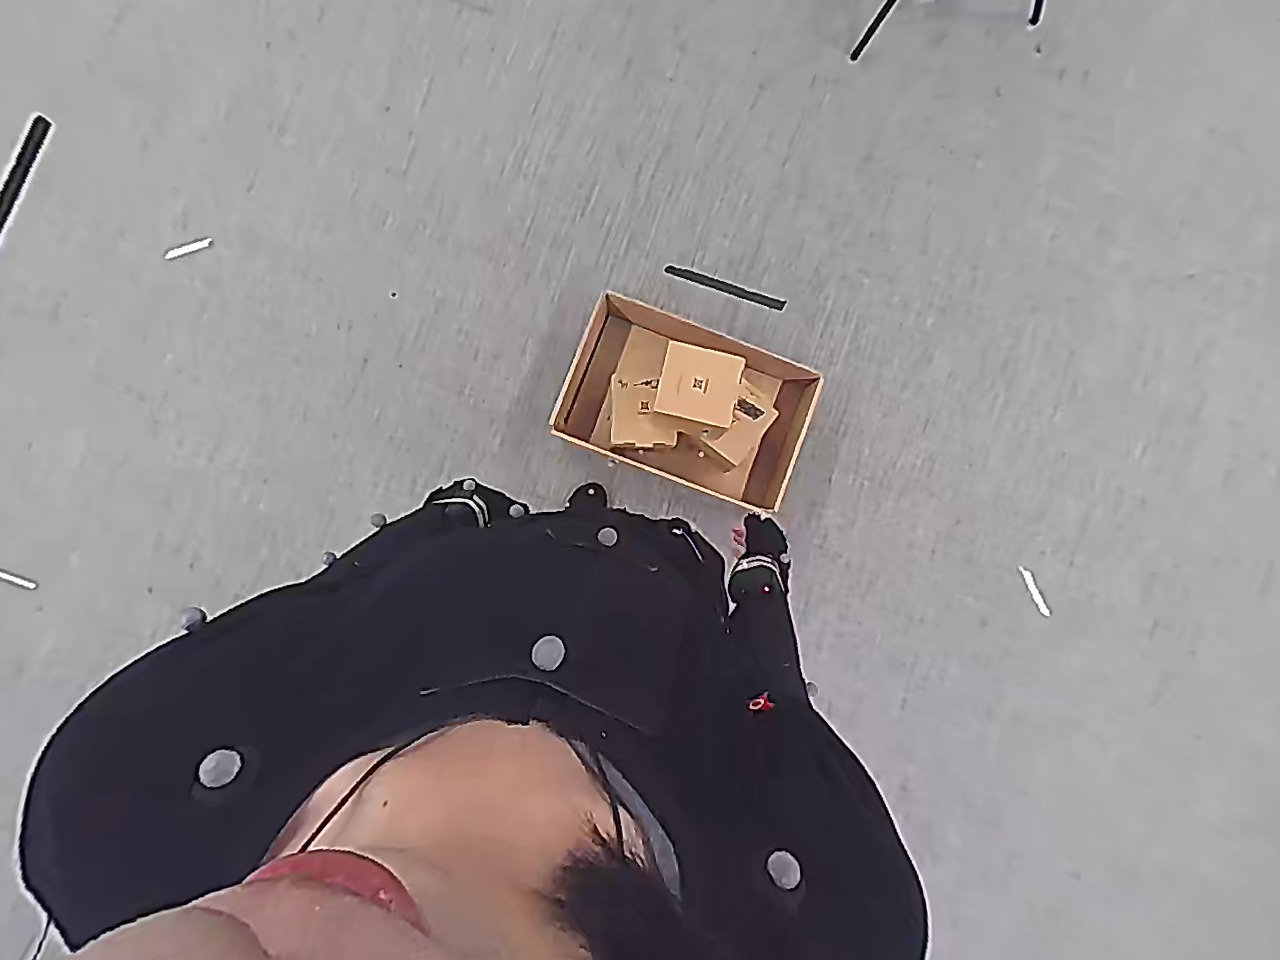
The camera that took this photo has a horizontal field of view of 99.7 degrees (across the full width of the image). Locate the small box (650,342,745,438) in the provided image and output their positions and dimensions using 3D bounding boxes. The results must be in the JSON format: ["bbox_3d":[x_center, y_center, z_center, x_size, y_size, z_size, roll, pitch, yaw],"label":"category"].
[{"bbox_3d":[0.127,-0.199,1.254,0.179,0.176,0.168,13,84,-1],"label":"small box"}]
